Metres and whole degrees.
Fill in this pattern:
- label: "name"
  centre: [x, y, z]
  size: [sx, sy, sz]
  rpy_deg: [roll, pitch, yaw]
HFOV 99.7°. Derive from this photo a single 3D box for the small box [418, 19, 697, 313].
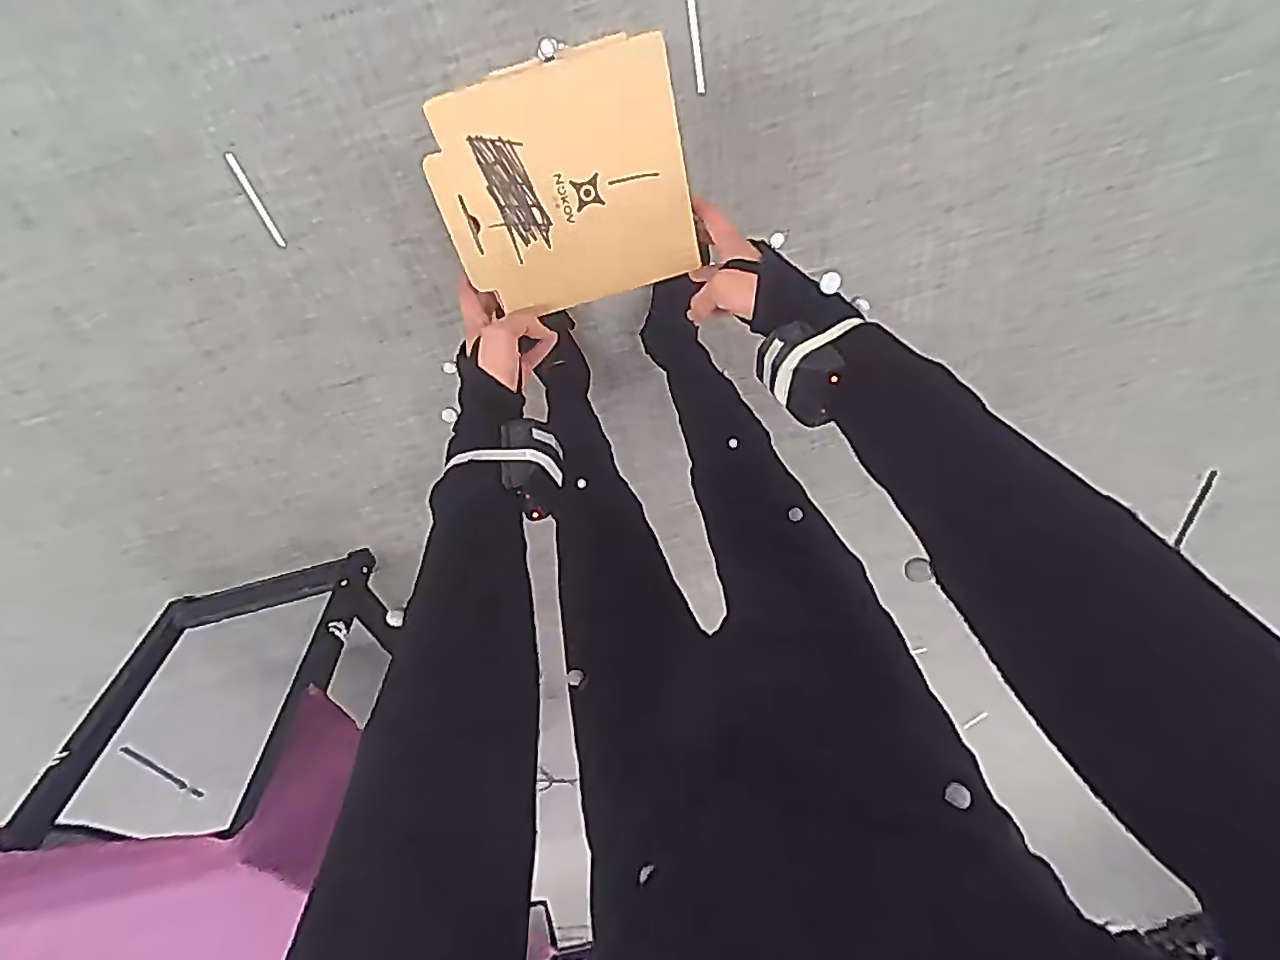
- label: "small box"
  centre: [-0.062, -0.272, 0.476]
  size: [0.179, 0.176, 0.168]
  rpy_deg: [-16, 127, 2]
